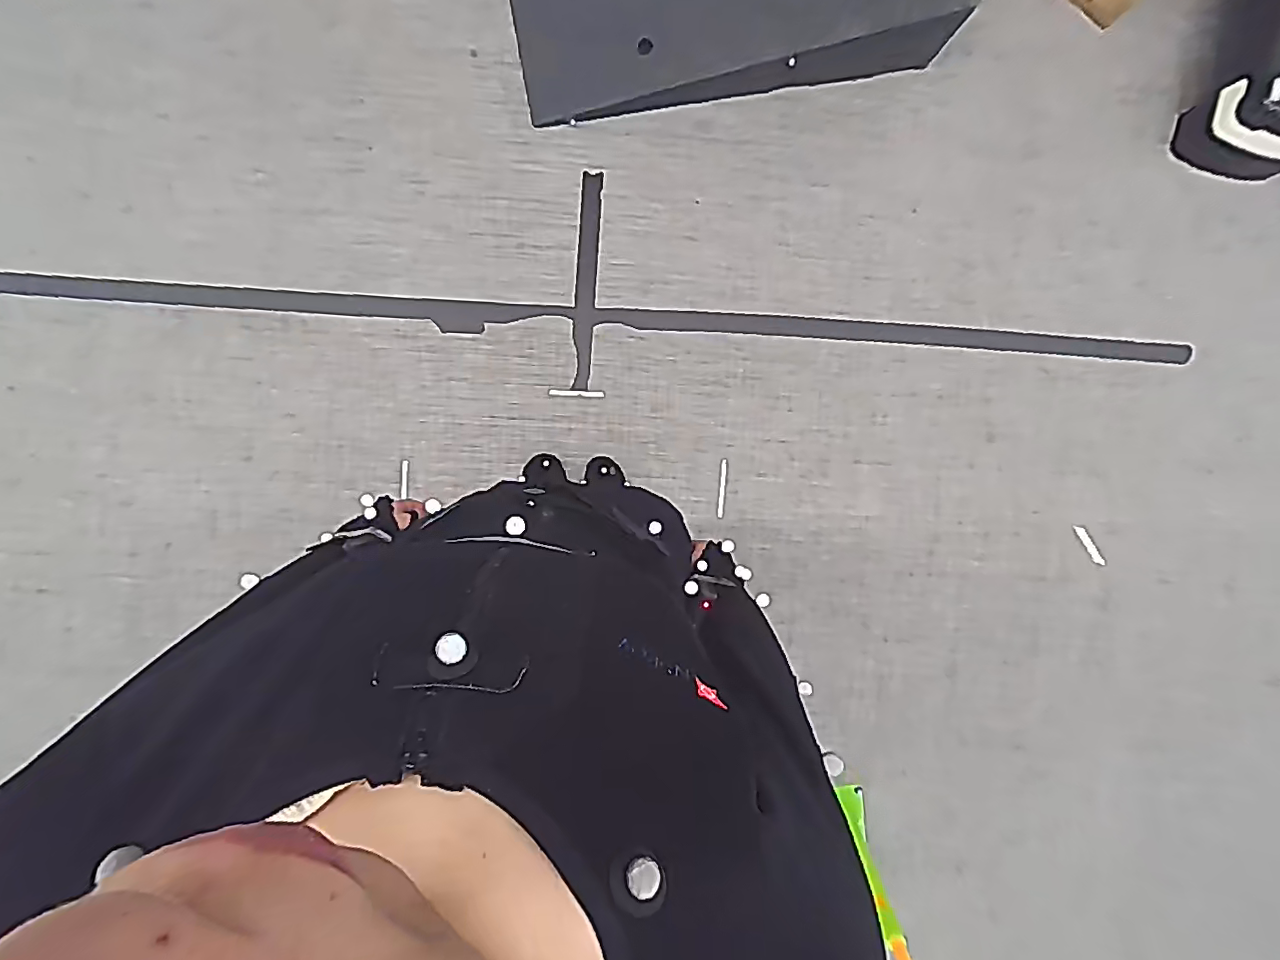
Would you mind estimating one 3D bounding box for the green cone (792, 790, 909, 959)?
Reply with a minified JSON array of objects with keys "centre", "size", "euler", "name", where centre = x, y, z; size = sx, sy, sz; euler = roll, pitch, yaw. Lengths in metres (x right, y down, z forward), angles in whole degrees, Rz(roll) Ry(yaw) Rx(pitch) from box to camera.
[{"centre":[0.520,0.957,1.288],"size":[0.200,0.368,0.202],"euler":[-7,97,-2],"name":"green cone"}]
